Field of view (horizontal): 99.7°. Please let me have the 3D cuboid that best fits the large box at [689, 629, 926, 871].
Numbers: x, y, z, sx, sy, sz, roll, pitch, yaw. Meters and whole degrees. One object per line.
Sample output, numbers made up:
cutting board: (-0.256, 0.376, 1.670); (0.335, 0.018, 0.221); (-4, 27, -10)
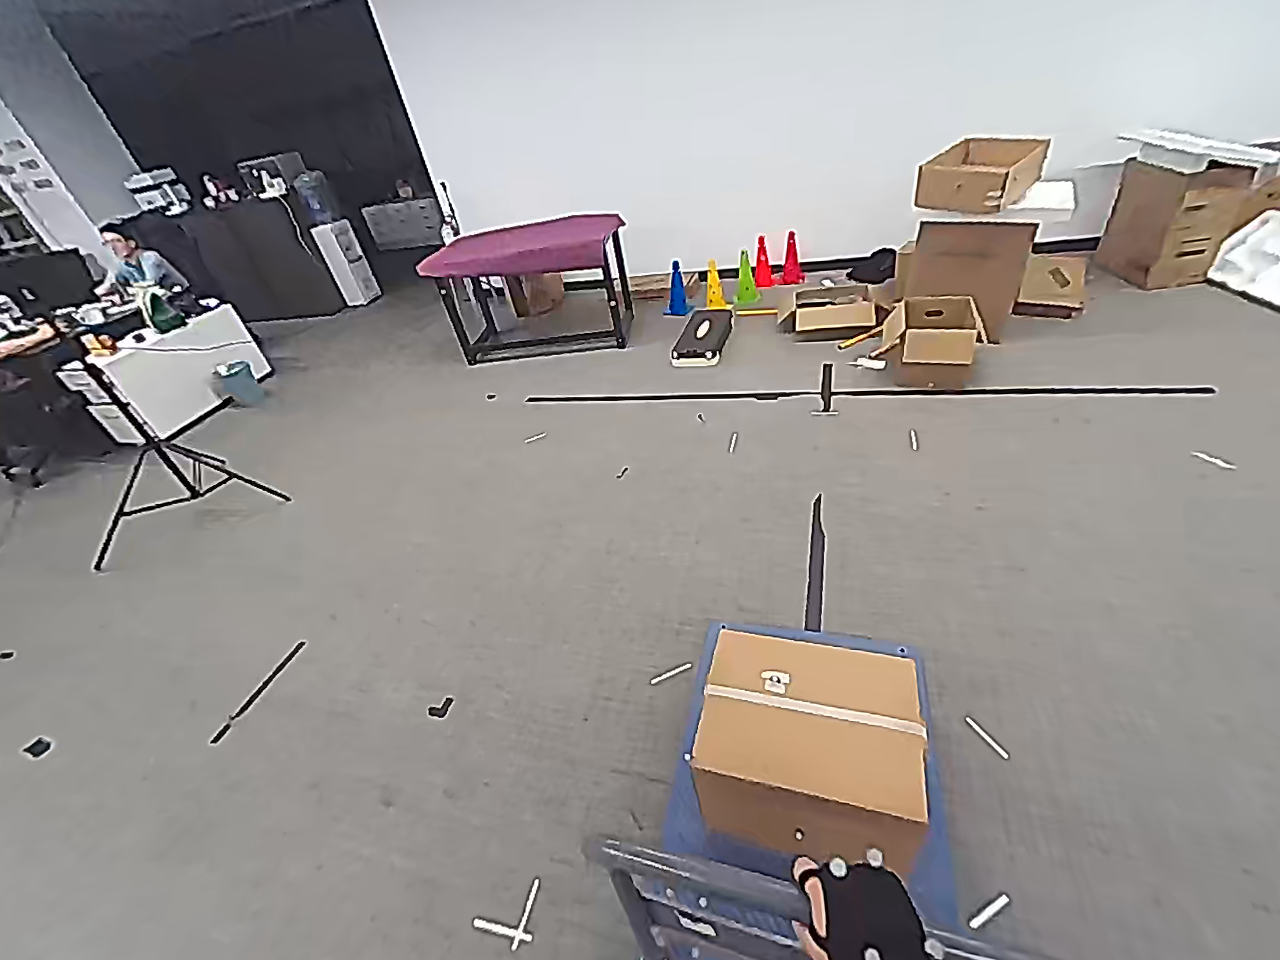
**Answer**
large box: (0.348, 0.555, 1.139); (0.408, 0.320, 0.320); (3, 39, 20)
